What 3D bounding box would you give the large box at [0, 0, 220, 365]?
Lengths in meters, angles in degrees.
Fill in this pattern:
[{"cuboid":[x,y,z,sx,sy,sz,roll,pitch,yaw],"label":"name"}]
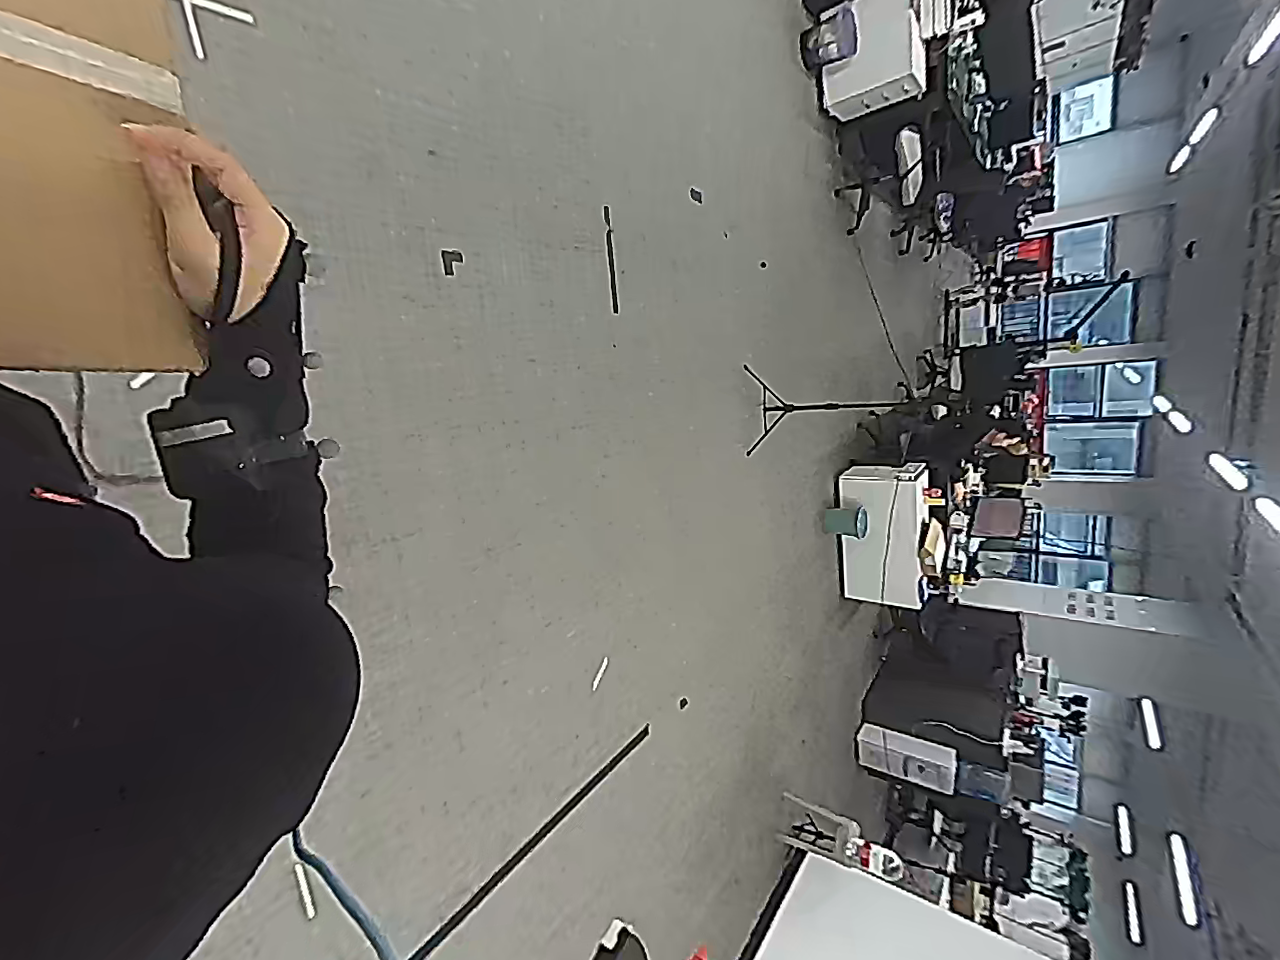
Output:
[{"cuboid":[-0.512,-0.218,0.256,0.408,0.320,0.320,-13,110,-53],"label":"large box"}]
